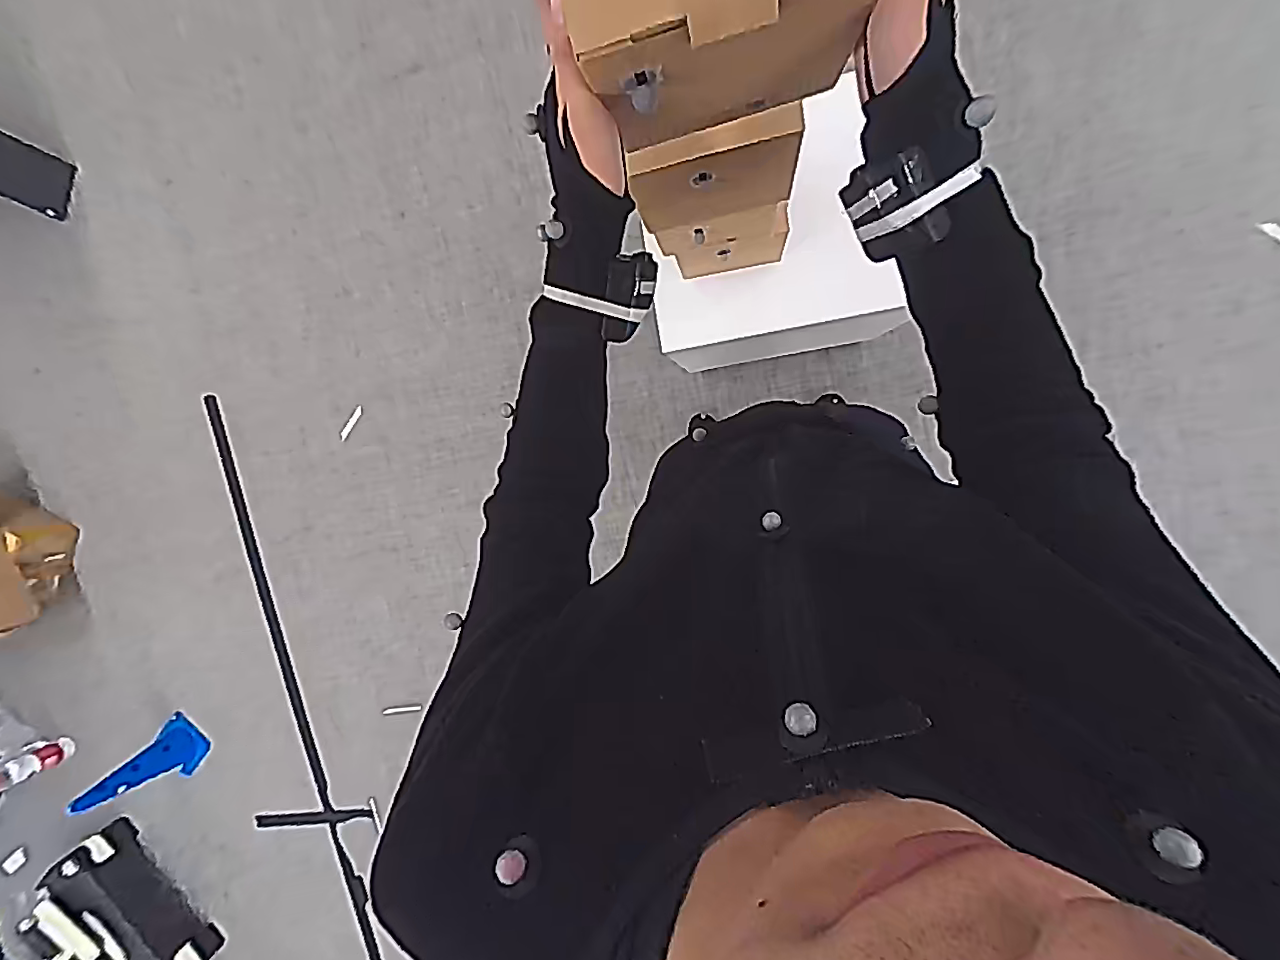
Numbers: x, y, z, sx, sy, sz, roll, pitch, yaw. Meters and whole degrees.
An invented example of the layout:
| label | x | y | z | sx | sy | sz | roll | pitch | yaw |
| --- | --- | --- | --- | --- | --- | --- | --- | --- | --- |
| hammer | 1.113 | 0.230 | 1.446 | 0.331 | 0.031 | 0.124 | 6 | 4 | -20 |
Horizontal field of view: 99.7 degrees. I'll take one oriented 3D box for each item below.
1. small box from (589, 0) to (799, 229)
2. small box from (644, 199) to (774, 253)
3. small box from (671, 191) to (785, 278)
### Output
| label | x | y | z | sx | sy | sz | roll | pitch | yaw |
| --- | --- | --- | --- | --- | --- | --- | --- | --- | --- |
| small box | 0.062 | -0.388 | 0.572 | 0.179 | 0.176 | 0.168 | -9 | 96 | 11 |
| small box | 0.090 | -0.422 | 0.731 | 0.168 | 0.176 | 0.179 | -6 | 95 | 11 |
| small box | 0.136 | -0.444 | 0.886 | 0.179 | 0.176 | 0.168 | -7 | 96 | 10 |
